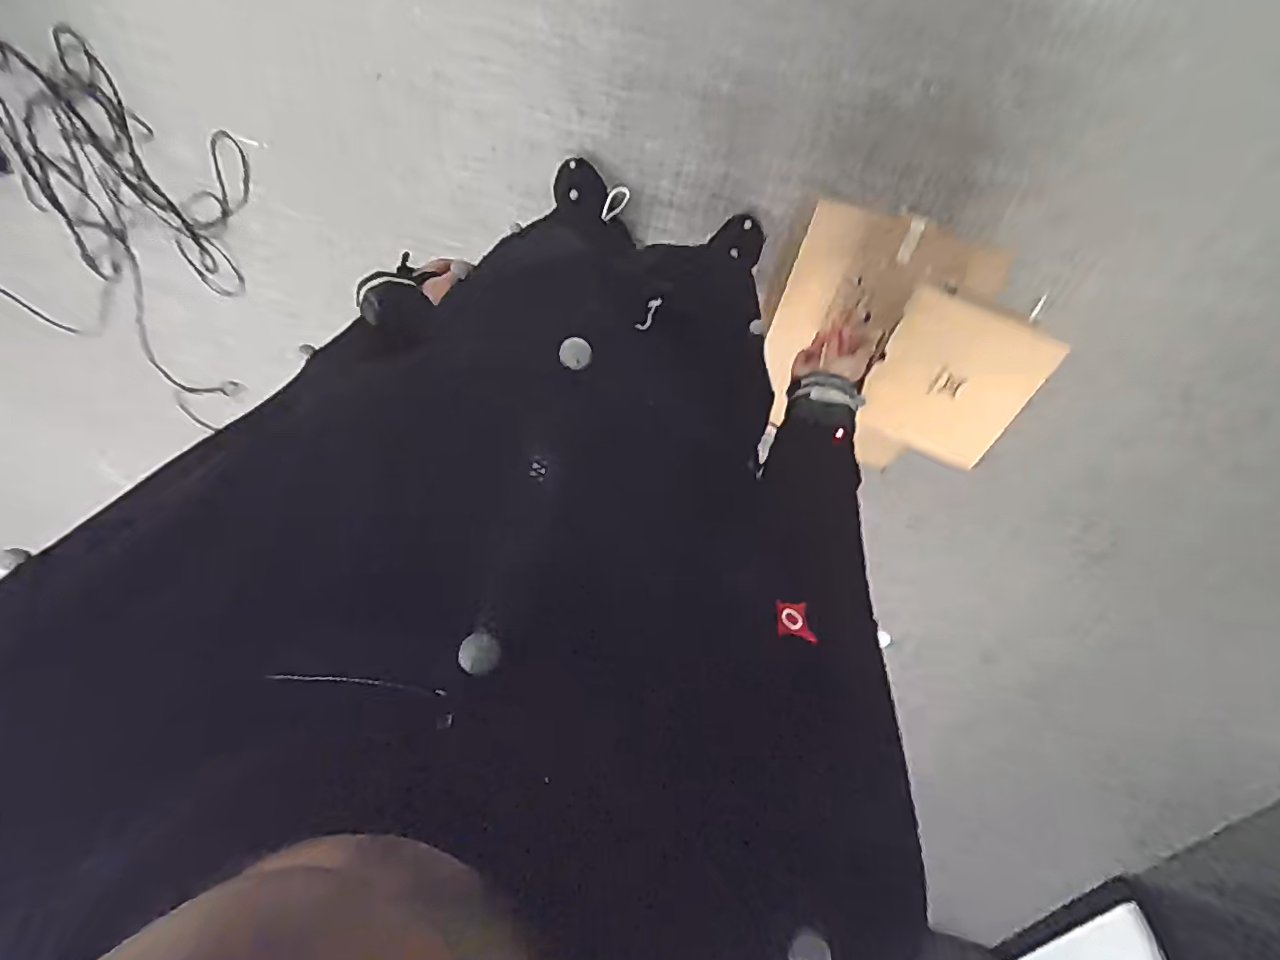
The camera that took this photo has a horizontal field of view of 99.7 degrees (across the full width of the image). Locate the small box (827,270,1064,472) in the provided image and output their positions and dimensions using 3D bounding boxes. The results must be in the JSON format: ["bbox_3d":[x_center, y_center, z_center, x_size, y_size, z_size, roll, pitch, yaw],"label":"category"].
[{"bbox_3d":[0.357,-0.143,0.675,0.179,0.176,0.168,22,123,-1],"label":"small box"}]

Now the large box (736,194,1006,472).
[{"bbox_3d":[0.401,-0.295,1.058,0.320,0.320,0.408,18,124,2],"label":"large box"}]
